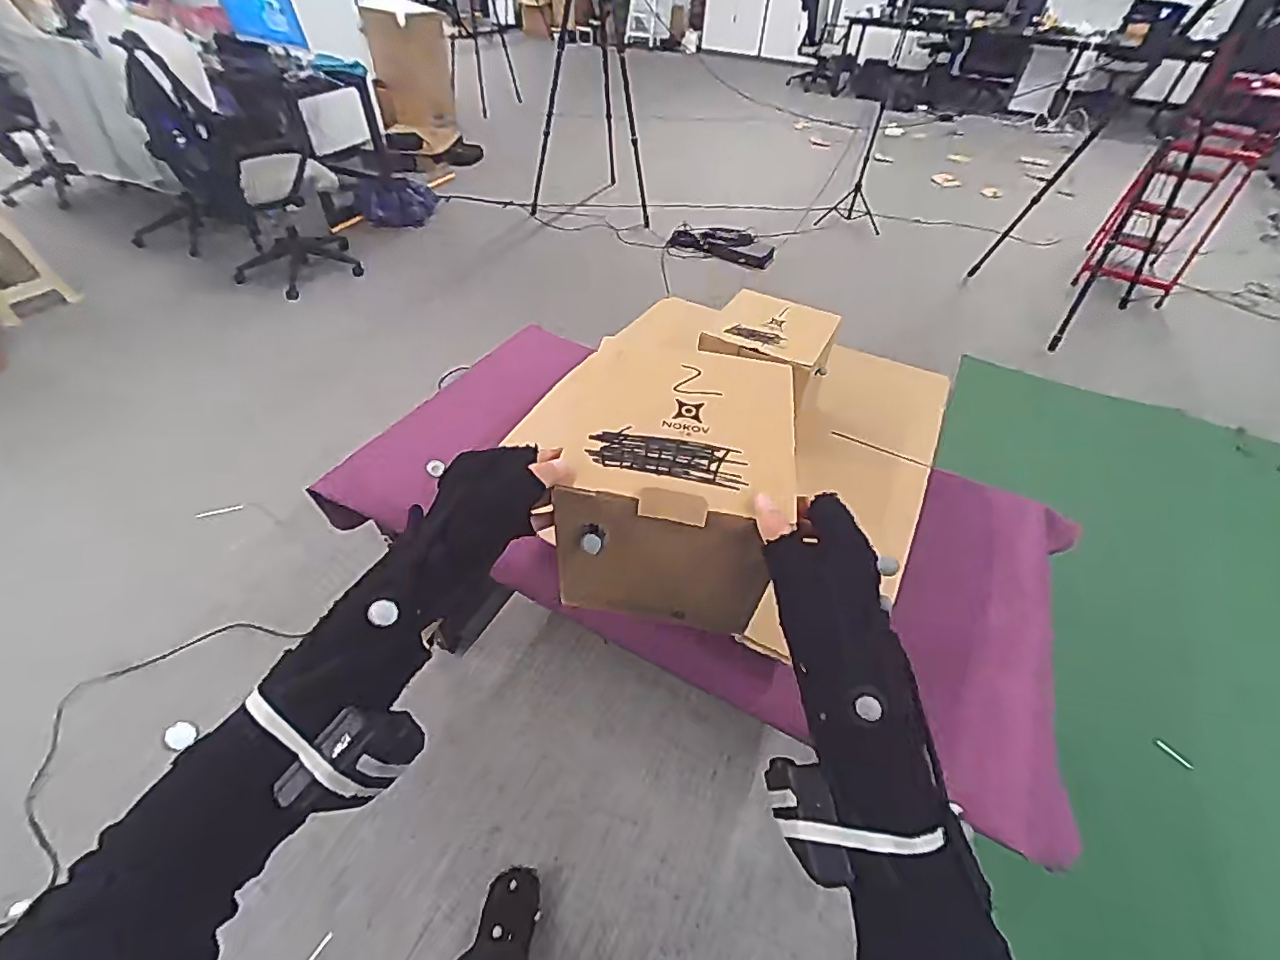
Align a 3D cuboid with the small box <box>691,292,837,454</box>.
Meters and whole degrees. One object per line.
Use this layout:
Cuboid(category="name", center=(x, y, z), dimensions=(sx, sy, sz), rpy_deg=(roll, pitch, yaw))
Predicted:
Cuboid(category="small box", center=(0.190, -0.169, 0.858), dimensions=(0.168, 0.176, 0.179), rpy_deg=(23, 47, 18))
